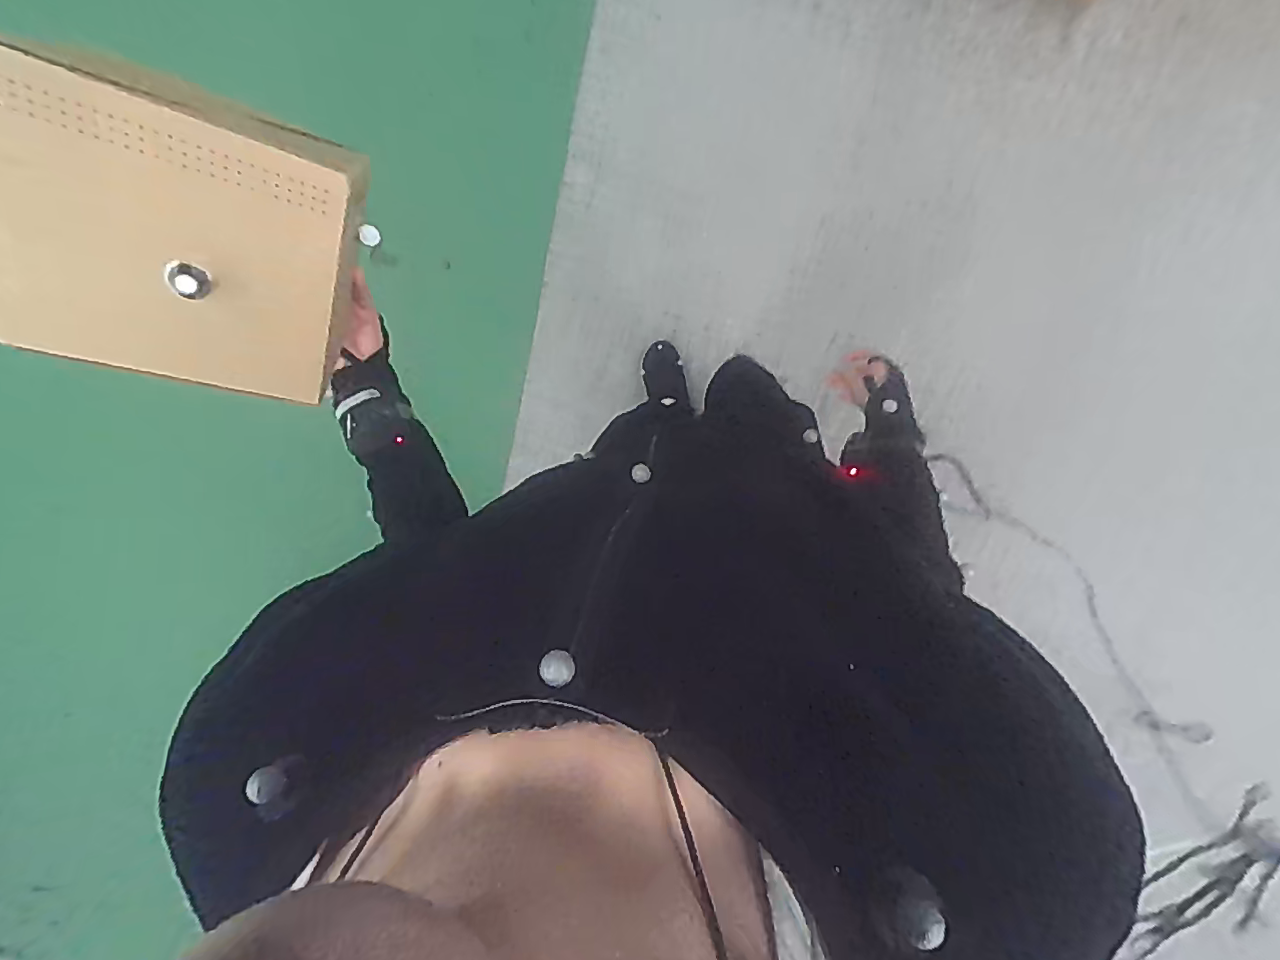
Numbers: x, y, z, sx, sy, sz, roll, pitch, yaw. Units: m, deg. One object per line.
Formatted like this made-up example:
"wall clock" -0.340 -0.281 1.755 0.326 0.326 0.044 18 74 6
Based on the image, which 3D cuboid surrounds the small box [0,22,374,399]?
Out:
"small box" -0.303 -0.185 0.380 0.179 0.168 0.176 11 121 -27
